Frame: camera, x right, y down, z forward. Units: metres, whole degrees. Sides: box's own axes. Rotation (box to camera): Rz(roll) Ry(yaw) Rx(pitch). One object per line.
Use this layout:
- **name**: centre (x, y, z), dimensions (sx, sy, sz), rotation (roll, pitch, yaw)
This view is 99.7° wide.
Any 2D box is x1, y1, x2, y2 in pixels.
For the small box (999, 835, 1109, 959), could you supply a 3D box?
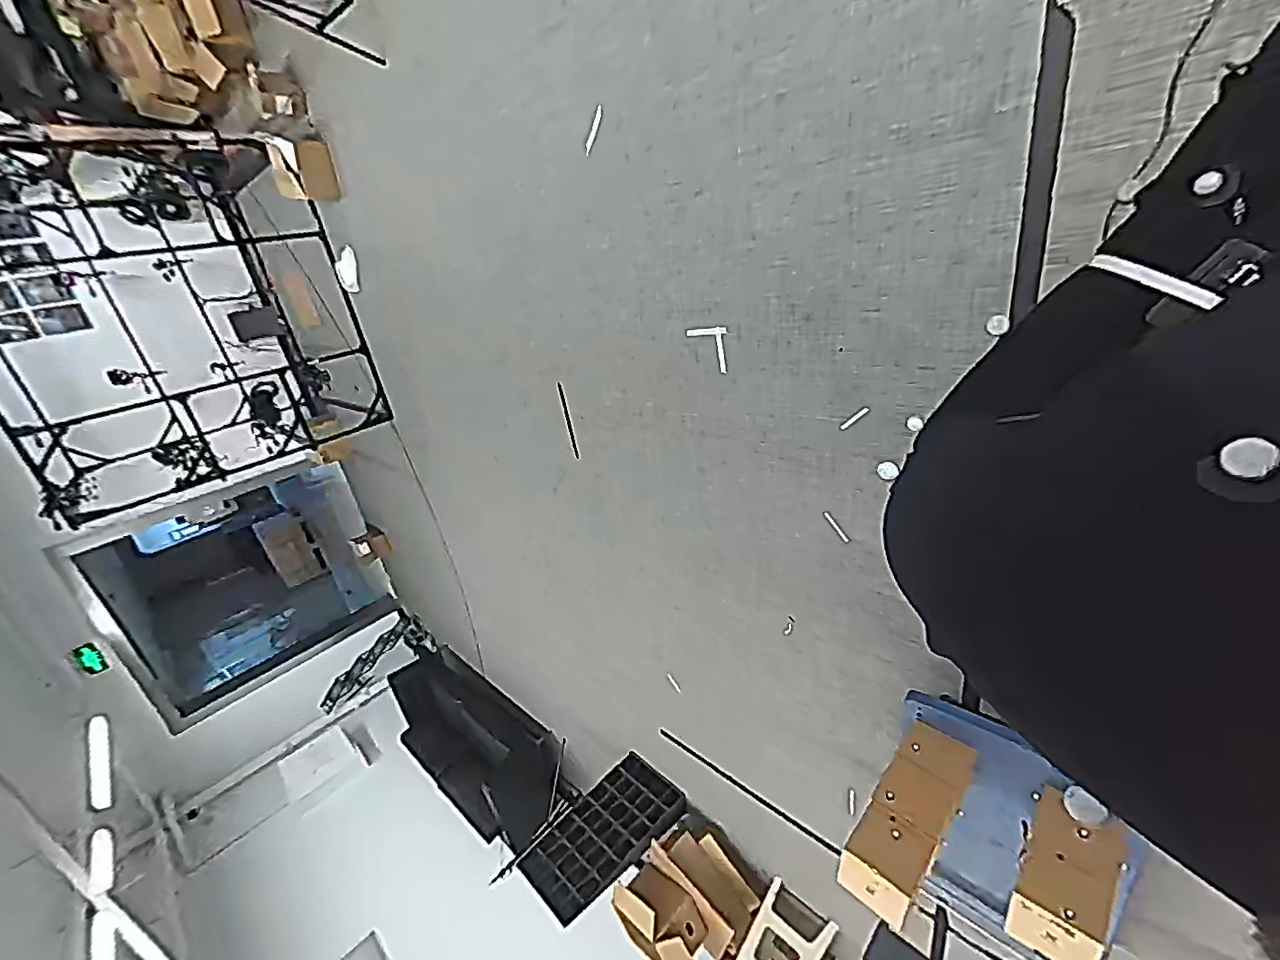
- **small box**: centre (0.978, 1.000, 1.277), dimensions (0.168, 0.176, 0.179), rotation (17, 127, 42)

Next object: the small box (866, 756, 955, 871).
- **small box**: centre (0.743, 0.913, 1.494), dimensions (0.179, 0.176, 0.168), rotation (22, 129, 41)

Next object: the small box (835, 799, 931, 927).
- **small box**: centre (0.629, 0.983, 1.398), dimensions (0.168, 0.176, 0.179), rotation (23, 130, 39)

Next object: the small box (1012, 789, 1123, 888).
- **small box**: centre (1.088, 0.931, 1.378), dimensions (0.179, 0.176, 0.168), rotation (19, 128, 40)
